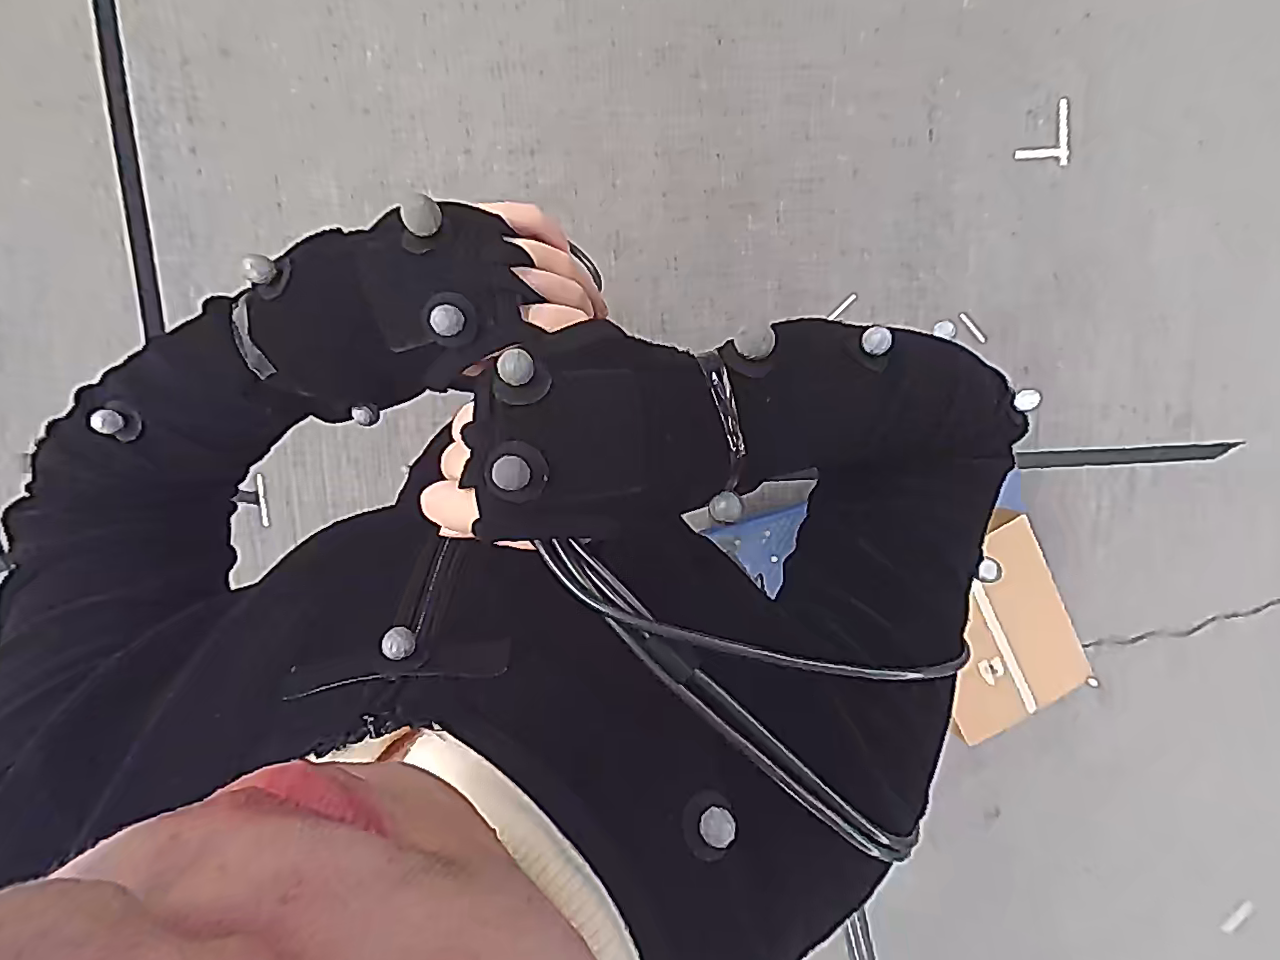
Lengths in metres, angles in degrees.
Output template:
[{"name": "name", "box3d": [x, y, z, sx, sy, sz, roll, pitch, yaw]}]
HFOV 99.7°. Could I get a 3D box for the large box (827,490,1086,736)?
[{"name": "large box", "box3d": [0.710, 0.282, 1.264, 0.320, 0.320, 0.408, -28, 99, -1]}]
